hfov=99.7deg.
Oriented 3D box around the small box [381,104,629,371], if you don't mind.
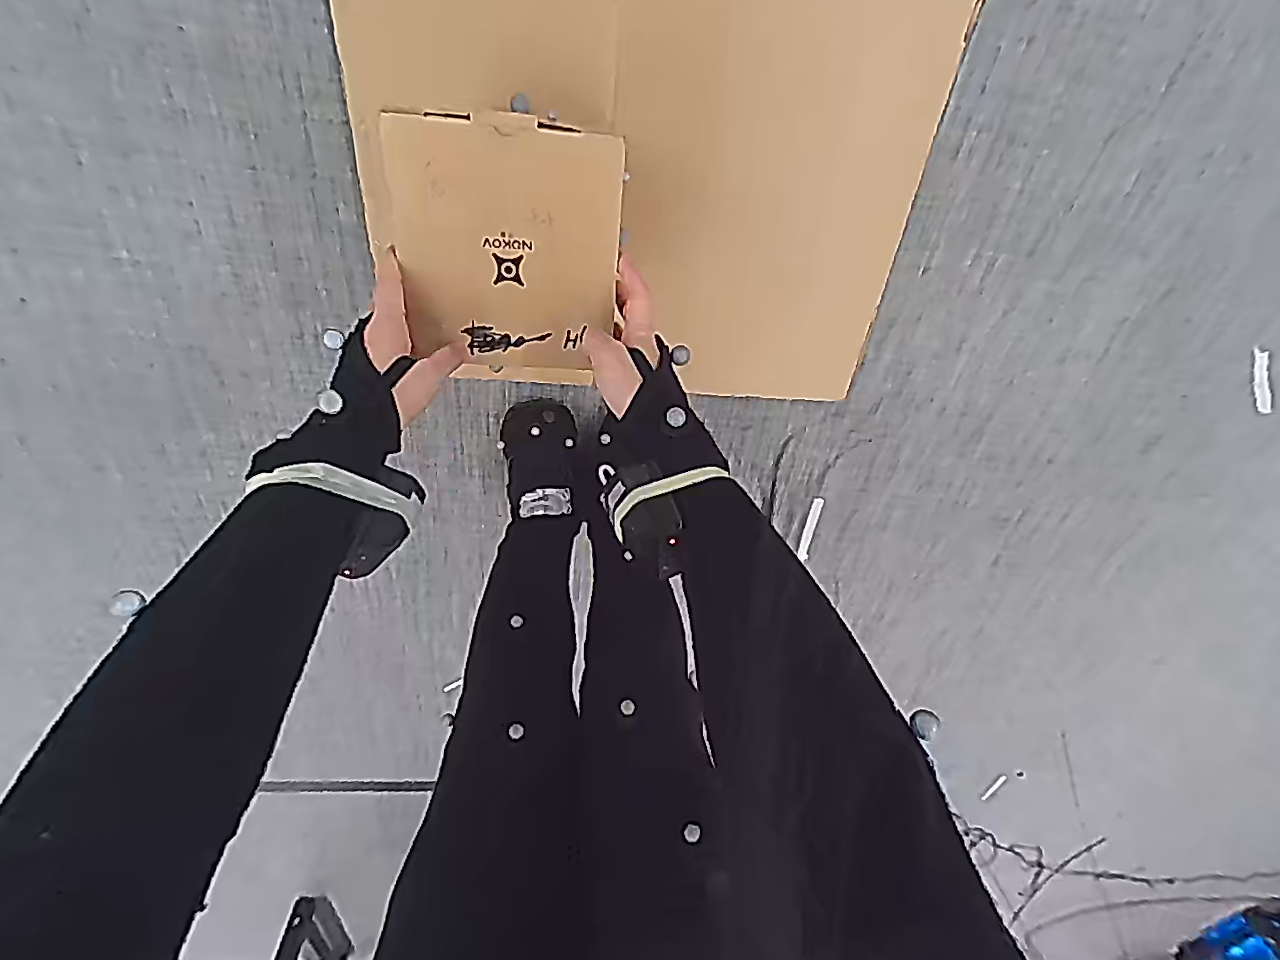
[{"bbox_3d":[-0.103,-0.211,0.471,0.168,0.176,0.179,2,123,-6],"label":"small box"}]
